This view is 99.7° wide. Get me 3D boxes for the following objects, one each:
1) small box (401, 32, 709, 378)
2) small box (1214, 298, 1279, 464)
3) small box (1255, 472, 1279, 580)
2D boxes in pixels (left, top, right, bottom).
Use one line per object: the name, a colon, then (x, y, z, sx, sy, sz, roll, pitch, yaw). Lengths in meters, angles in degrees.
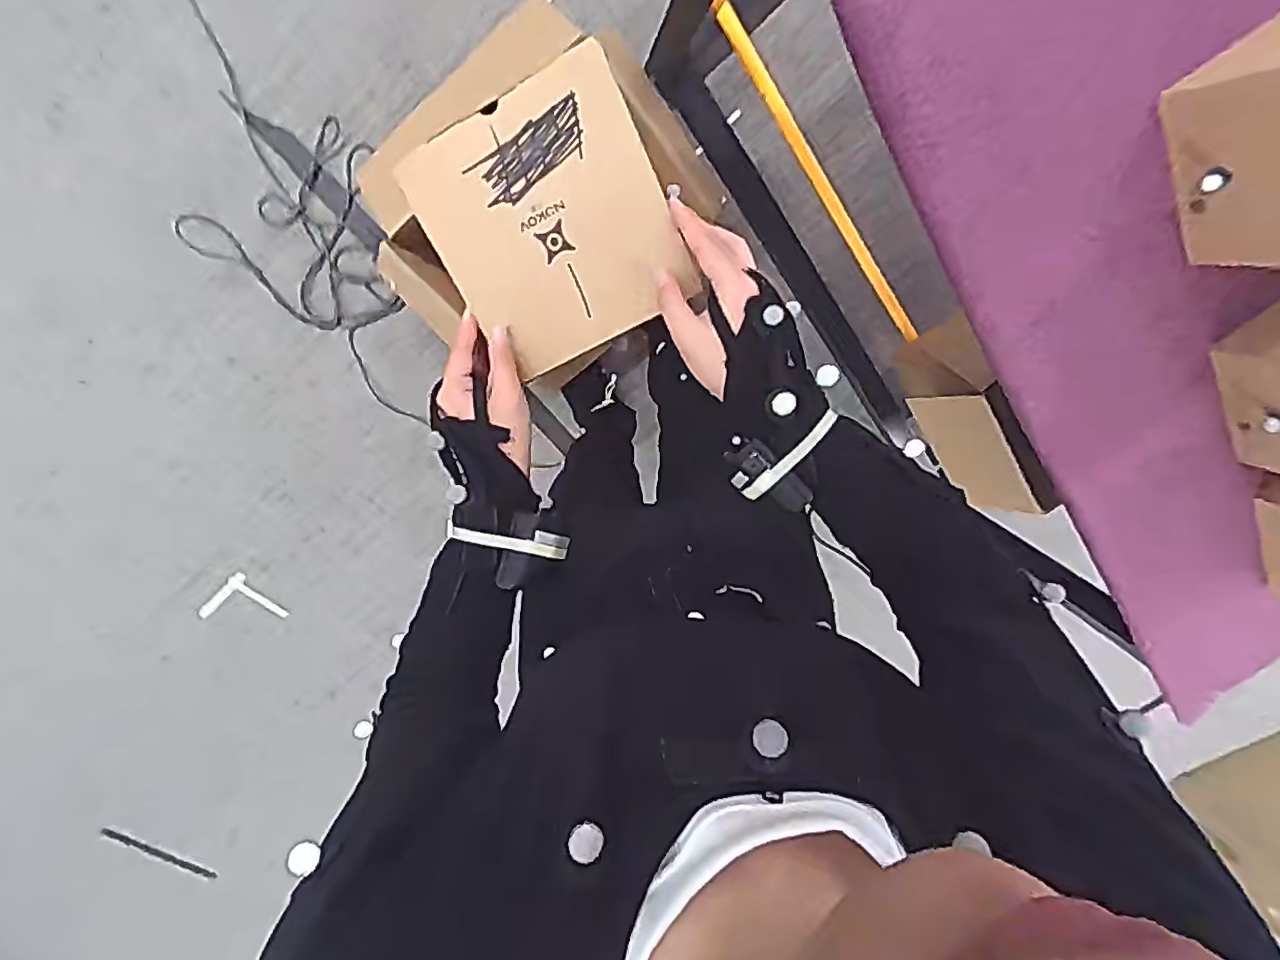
small box: (-0.054, -0.207, 0.455, 0.168, 0.176, 0.179, -23, 107, 11)
small box: (0.729, -0.108, 0.518, 0.179, 0.176, 0.168, -36, 112, 8)
small box: (0.872, 0.061, 0.611, 0.168, 0.176, 0.179, -35, 113, 6)
